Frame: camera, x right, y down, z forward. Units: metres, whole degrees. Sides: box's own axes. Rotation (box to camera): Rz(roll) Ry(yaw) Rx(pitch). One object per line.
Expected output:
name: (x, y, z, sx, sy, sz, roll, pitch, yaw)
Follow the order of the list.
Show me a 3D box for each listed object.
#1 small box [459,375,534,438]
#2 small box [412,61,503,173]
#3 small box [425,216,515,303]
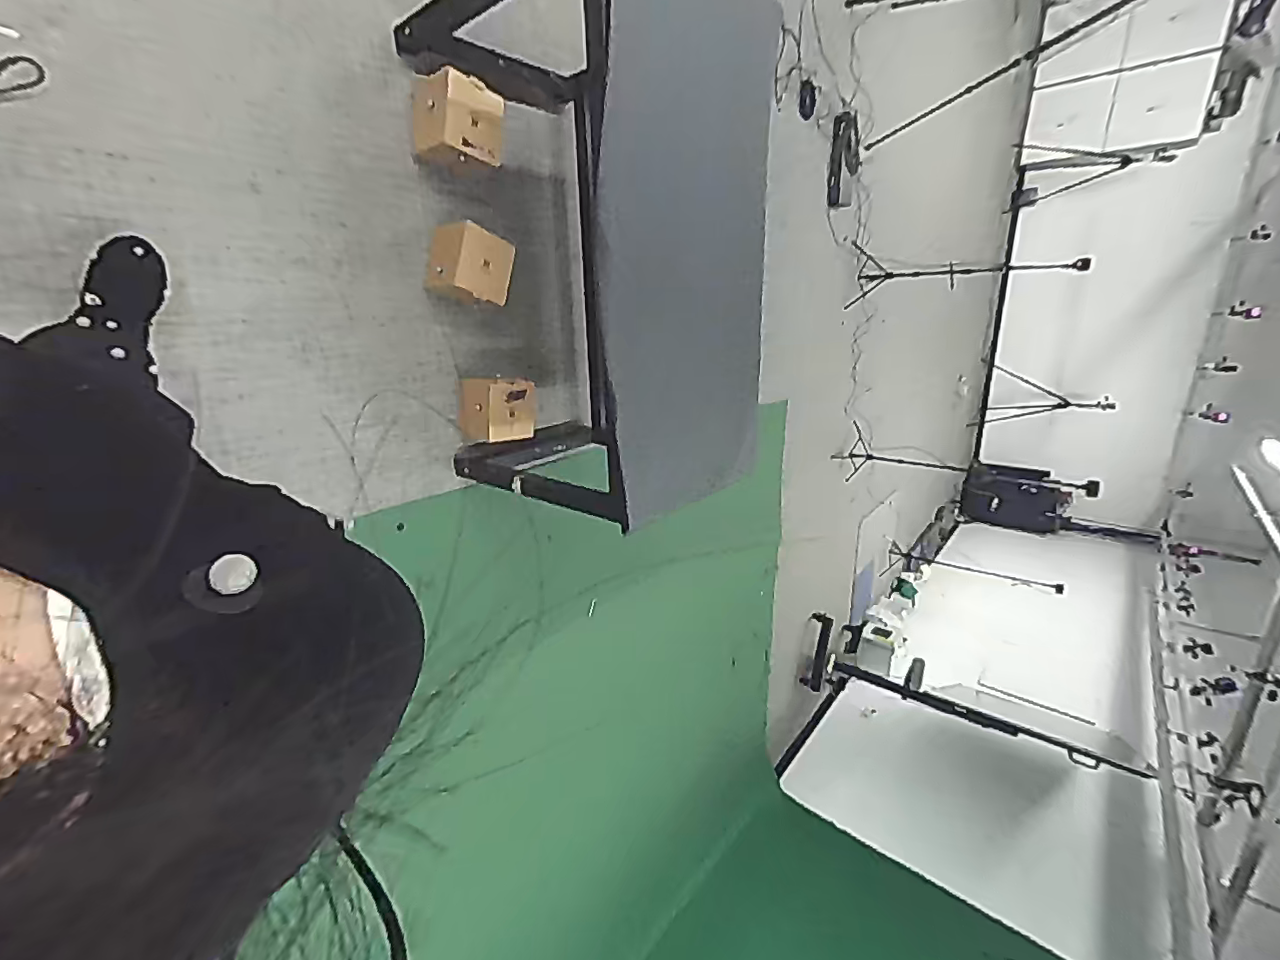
small box: (-0.445, -0.233, 1.669, 0.168, 0.176, 0.179, -14, 111, -48)
small box: (-0.483, -0.943, 1.425, 0.168, 0.176, 0.179, -4, 102, -50)
small box: (-0.481, -0.610, 1.520, 0.168, 0.176, 0.179, 8, 92, -52)
